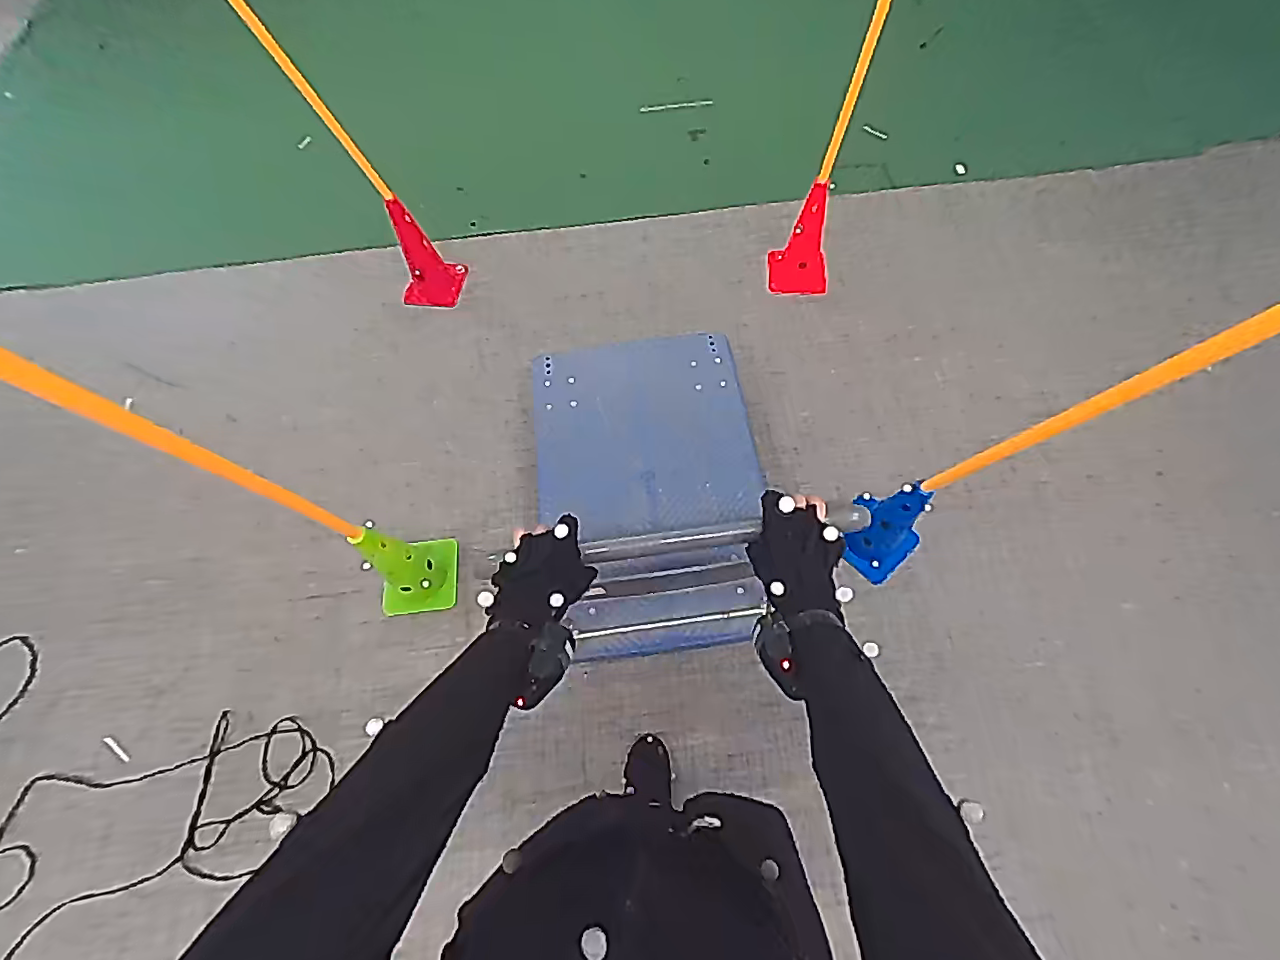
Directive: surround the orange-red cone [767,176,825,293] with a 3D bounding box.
[{"bbox_3d":[0.533,-0.799,1.732,0.198,0.360,0.199,3,67,6],"label":"orange-red cone"}]
